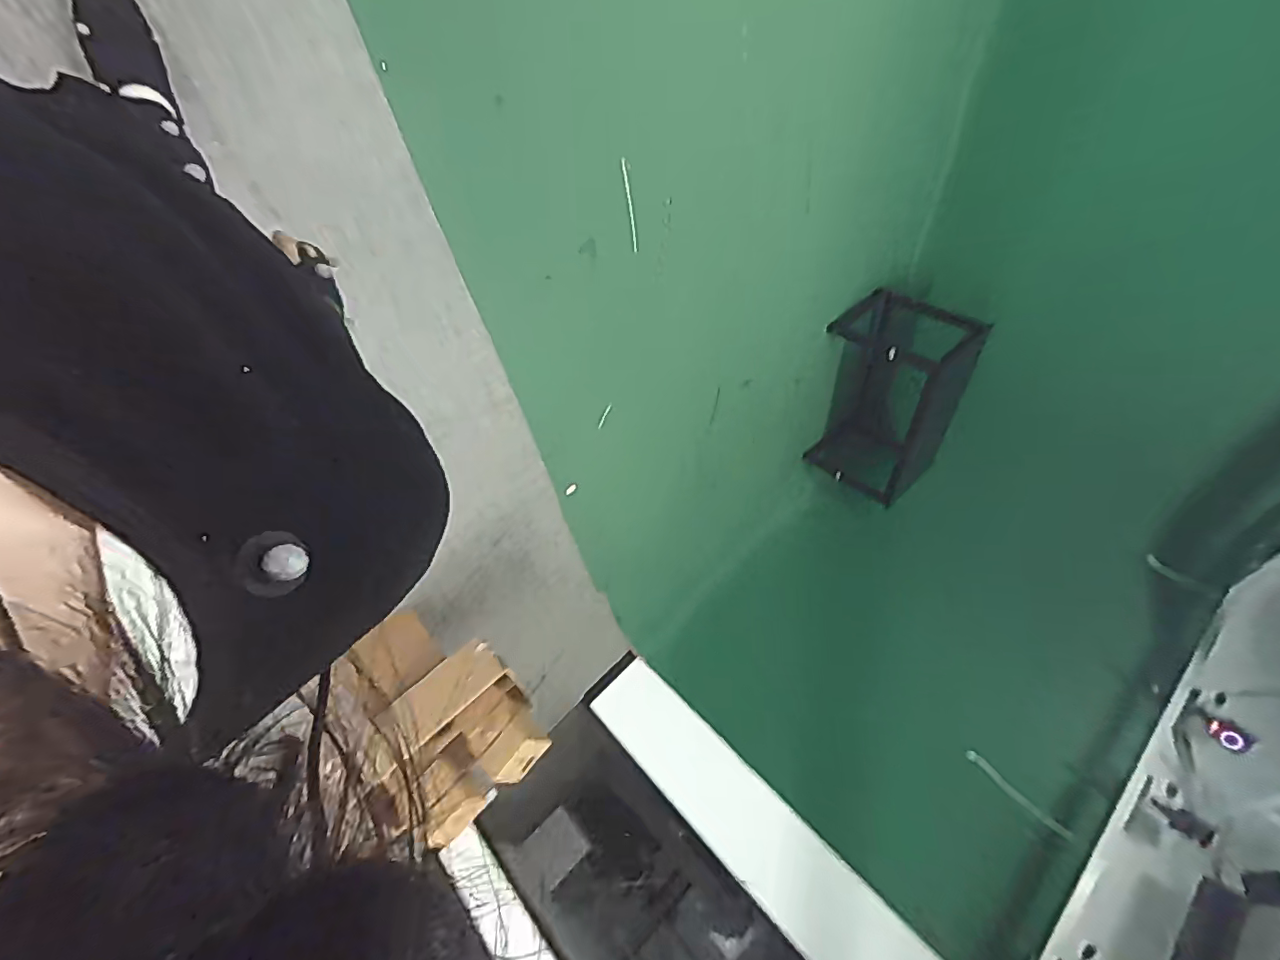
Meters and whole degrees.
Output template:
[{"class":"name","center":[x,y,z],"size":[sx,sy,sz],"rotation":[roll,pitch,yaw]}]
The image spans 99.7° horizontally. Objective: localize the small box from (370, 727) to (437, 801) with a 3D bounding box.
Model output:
[{"class":"small box","center":[-0.782,0.974,1.833],"size":[0.168,0.176,0.179],"rotation":[-33,142,-31]}]

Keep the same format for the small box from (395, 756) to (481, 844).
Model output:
[{"class":"small box","center":[-0.654,1.029,1.737],"size":[0.179,0.176,0.168],"rotation":[-45,149,-16]}]

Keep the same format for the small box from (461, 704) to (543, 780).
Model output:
[{"class":"small box","center":[-0.471,0.894,1.851],"size":[0.168,0.176,0.179],"rotation":[-50,147,-9]}]
